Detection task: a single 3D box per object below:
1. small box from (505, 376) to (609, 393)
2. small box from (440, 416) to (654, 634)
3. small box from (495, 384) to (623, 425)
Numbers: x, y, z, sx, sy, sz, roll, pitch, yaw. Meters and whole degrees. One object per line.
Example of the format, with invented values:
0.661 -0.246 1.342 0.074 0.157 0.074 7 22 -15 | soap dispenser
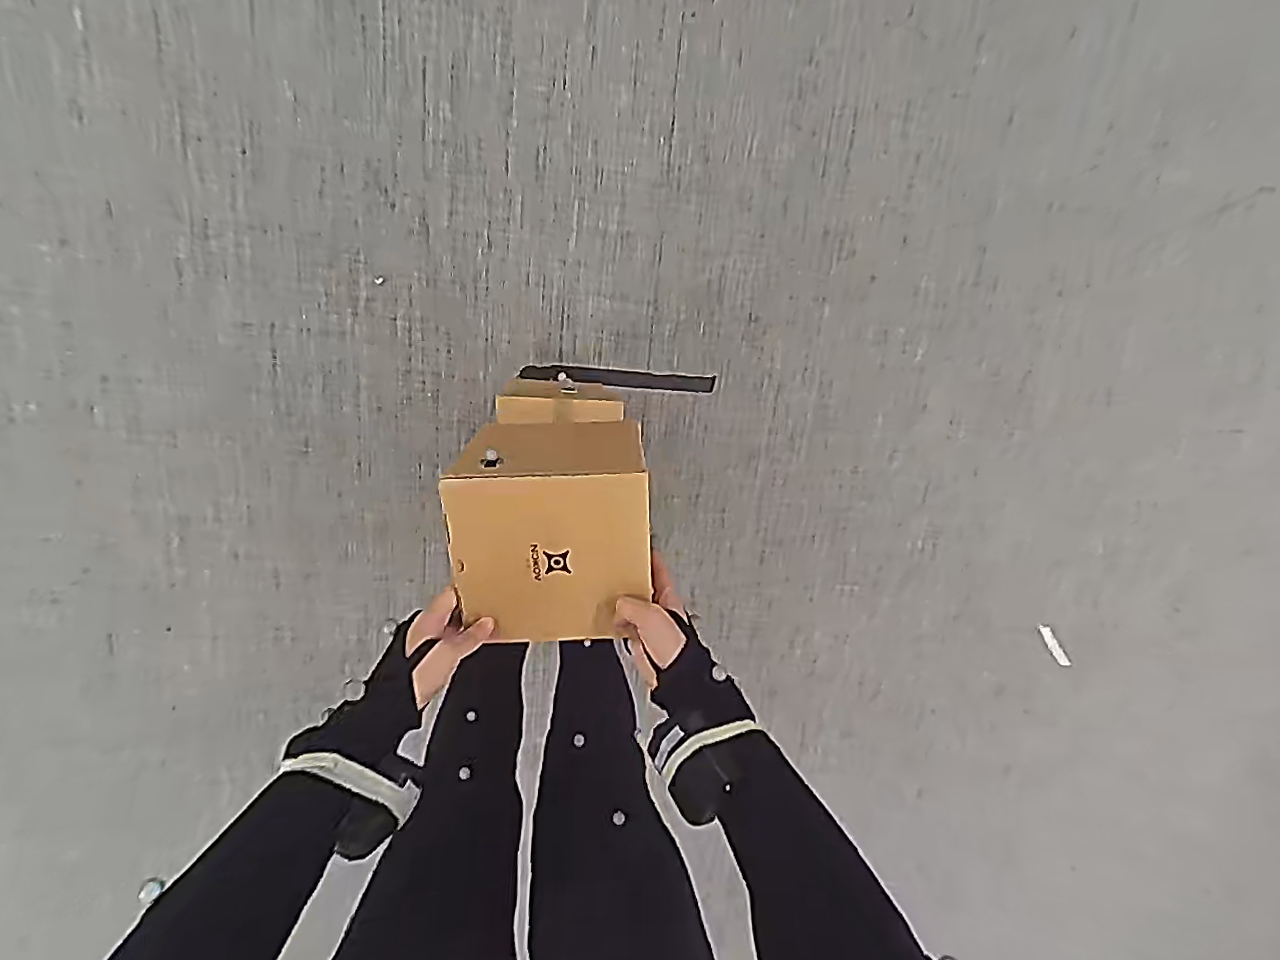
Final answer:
-0.145 -0.084 0.941 0.168 0.176 0.179 1 104 -9 | small box
-0.080 0.035 0.552 0.179 0.176 0.168 -3 111 0 | small box
-0.118 -0.043 0.787 0.168 0.176 0.179 0 103 -10 | small box
